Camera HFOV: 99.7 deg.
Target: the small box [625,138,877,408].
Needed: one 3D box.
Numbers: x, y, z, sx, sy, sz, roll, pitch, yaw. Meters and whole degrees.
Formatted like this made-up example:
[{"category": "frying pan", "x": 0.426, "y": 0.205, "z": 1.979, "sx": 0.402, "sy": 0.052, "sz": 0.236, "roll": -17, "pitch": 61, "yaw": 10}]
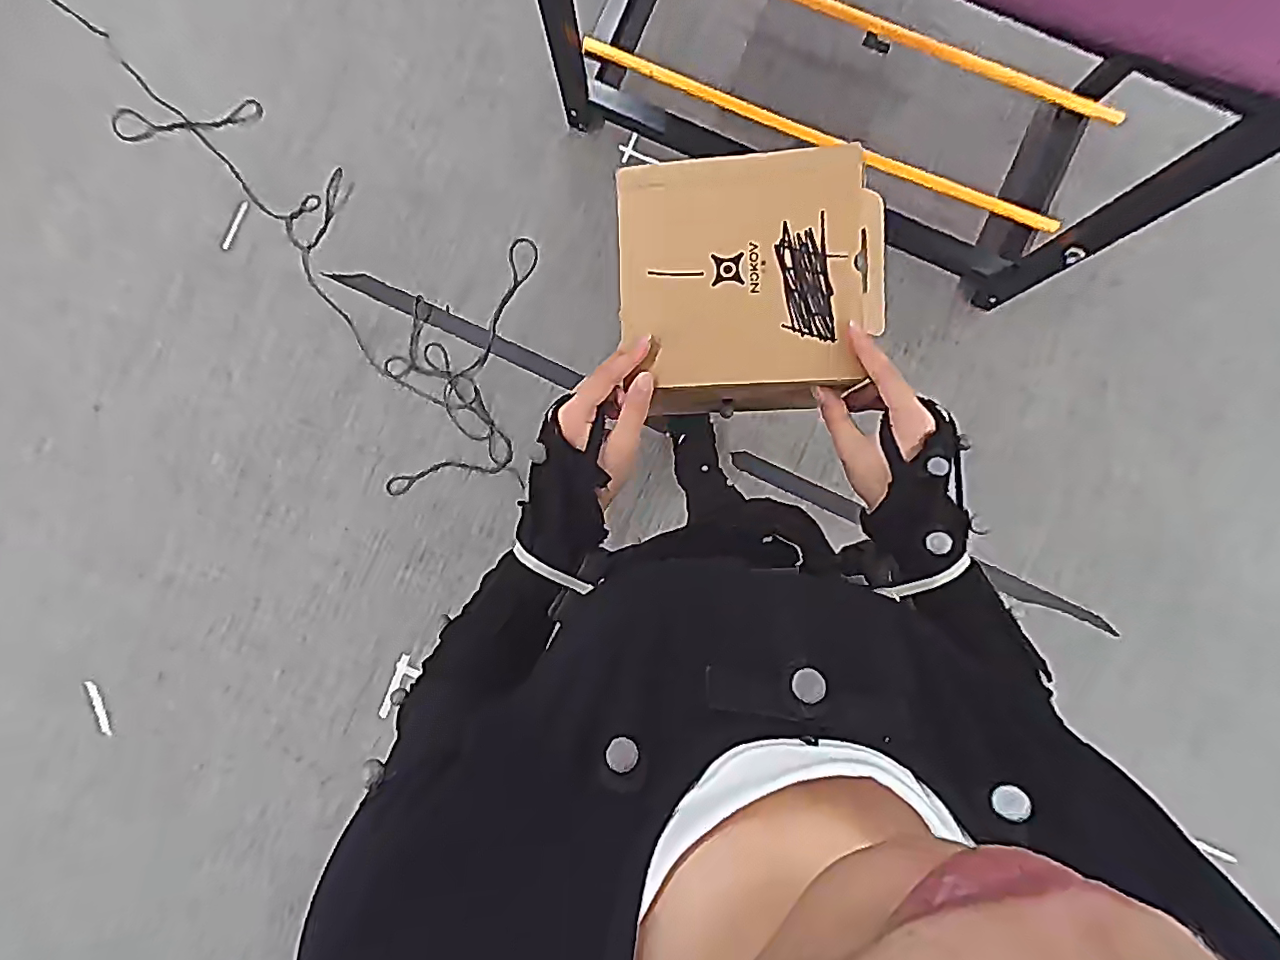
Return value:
[{"category": "small box", "x": 0.085, "y": -0.154, "z": 0.461, "sx": 0.179, "sy": 0.176, "sz": 0.168, "roll": -2, "pitch": 90, "yaw": 7}]
